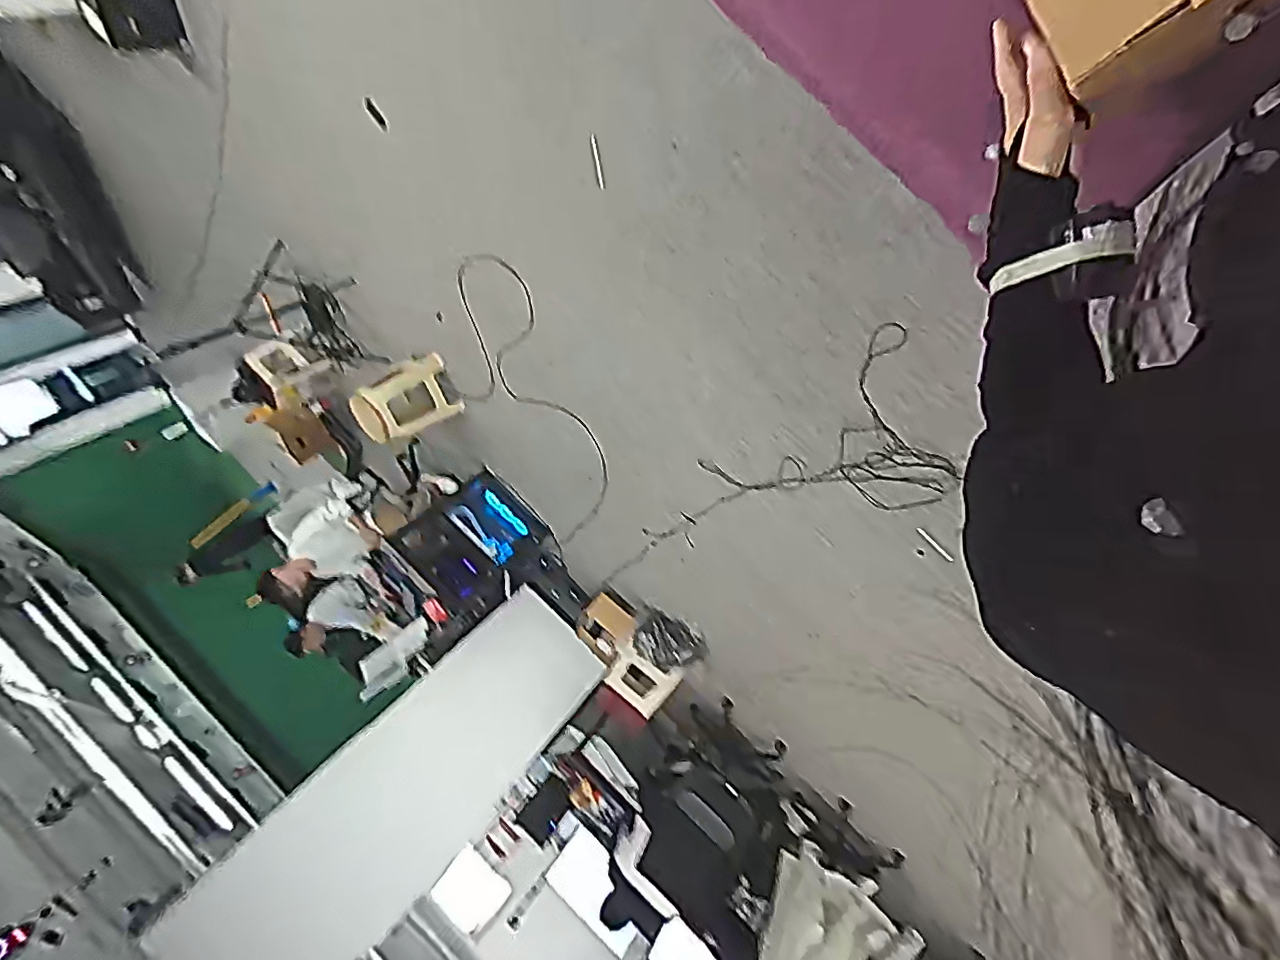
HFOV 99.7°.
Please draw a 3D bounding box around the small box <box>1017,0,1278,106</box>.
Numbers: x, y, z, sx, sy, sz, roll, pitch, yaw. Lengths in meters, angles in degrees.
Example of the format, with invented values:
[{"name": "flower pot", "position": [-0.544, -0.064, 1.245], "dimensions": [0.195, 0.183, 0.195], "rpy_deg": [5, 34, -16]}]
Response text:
[{"name": "small box", "position": [0.350, -0.385, 0.354], "dimensions": [0.168, 0.176, 0.179], "rpy_deg": [-28, 86, 49]}]
